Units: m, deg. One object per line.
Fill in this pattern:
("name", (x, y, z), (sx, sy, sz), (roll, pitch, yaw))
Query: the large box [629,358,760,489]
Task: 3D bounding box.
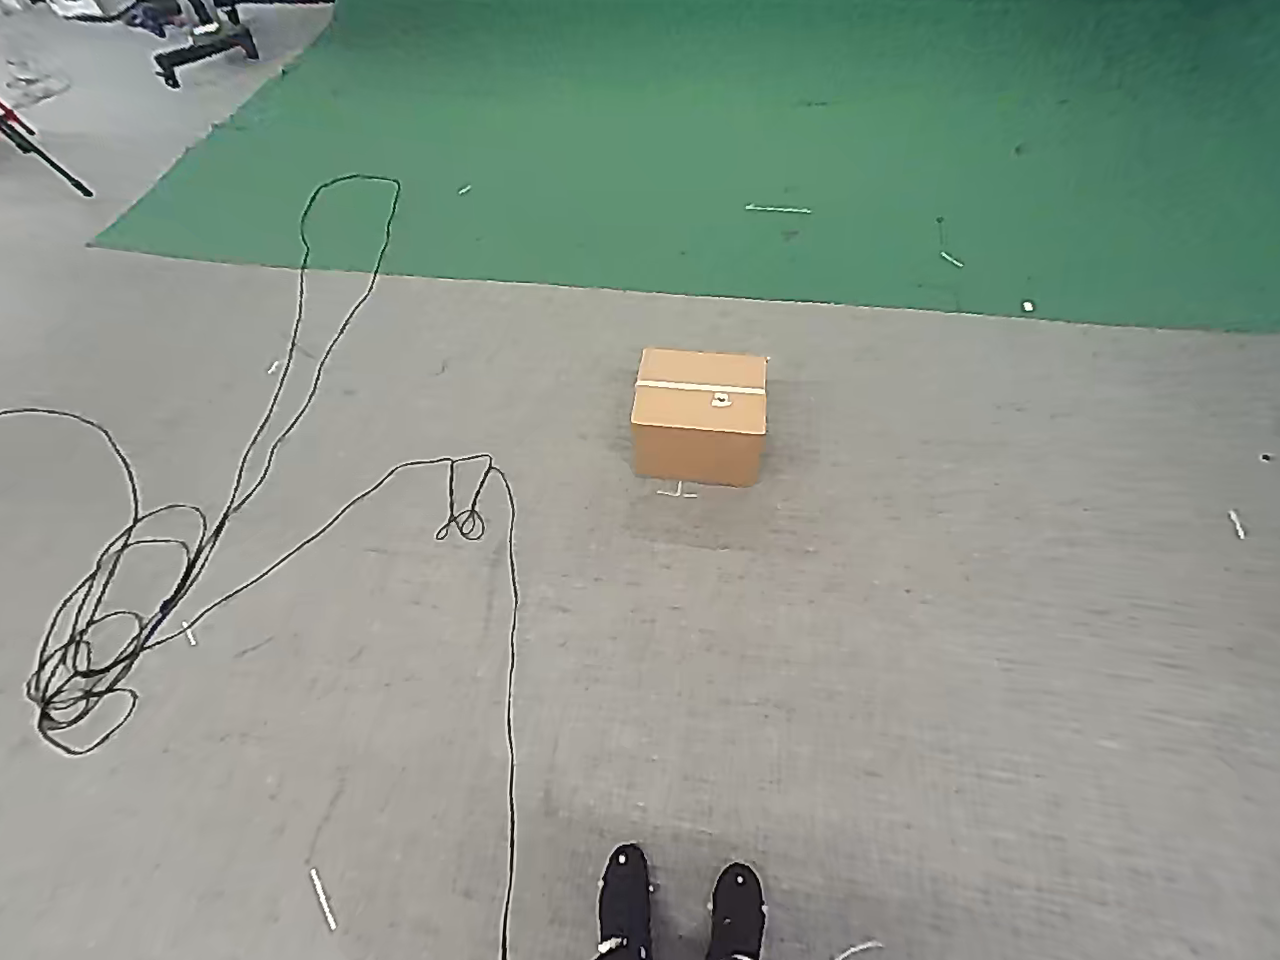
("large box", (0.178, -0.186, 1.832), (0.408, 0.320, 0.320), (5, 59, 5))
